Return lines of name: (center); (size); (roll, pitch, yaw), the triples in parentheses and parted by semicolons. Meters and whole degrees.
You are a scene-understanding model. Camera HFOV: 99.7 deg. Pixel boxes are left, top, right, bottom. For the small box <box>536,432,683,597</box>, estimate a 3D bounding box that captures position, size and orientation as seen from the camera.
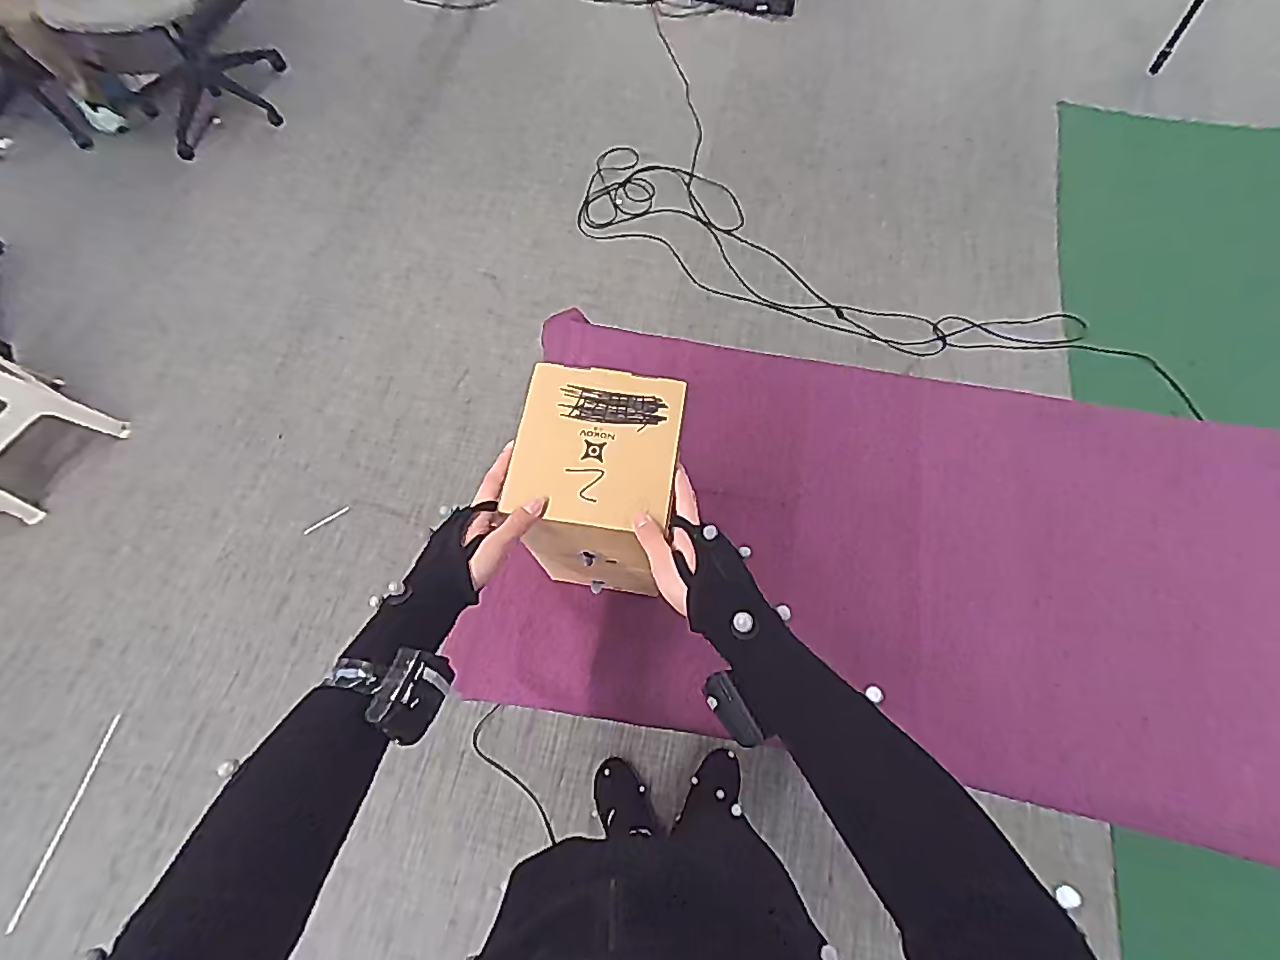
small box: (-0.038, 0.055, 0.774); (0.168, 0.176, 0.179); (9, 69, 4)
